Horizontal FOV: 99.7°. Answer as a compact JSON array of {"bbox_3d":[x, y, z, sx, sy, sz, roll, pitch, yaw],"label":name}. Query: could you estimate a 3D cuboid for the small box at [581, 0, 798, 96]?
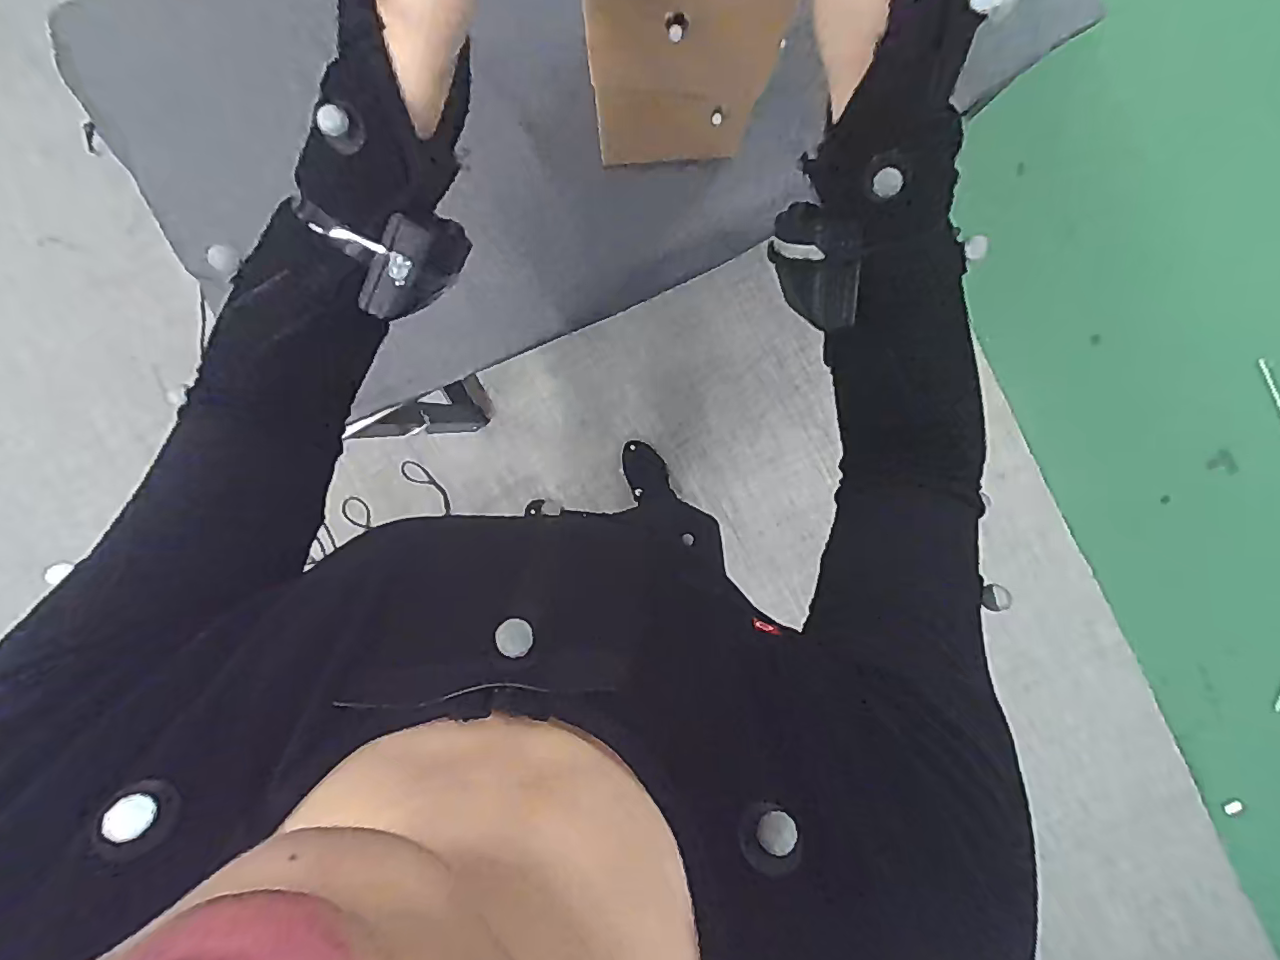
[{"bbox_3d":[0.044,-0.464,0.459,0.179,0.176,0.168,4,95,0],"label":"small box"}]
